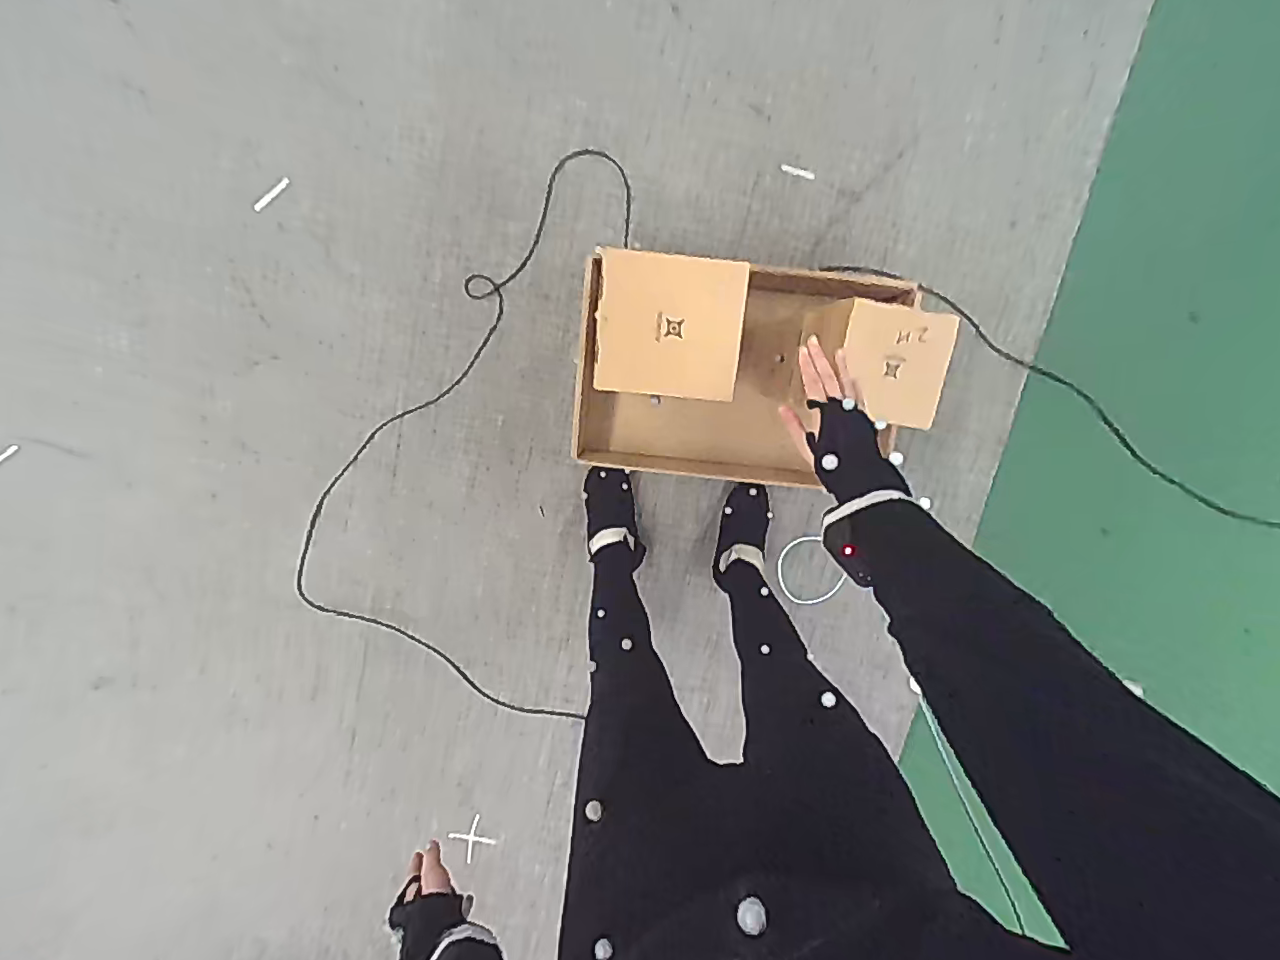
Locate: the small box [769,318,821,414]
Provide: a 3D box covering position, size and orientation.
[{"bbox_3d":[0.366,-0.209,1.061,0.179,0.176,0.168,10,100,-2],"label":"small box"}]

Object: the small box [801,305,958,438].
[{"bbox_3d":[0.382,-0.176,0.899,0.168,0.176,0.179,10,99,-3],"label":"small box"}]

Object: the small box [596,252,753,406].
[{"bbox_3d":[0.039,-0.197,0.730,0.179,0.176,0.168,6,102,-1],"label":"small box"}]
